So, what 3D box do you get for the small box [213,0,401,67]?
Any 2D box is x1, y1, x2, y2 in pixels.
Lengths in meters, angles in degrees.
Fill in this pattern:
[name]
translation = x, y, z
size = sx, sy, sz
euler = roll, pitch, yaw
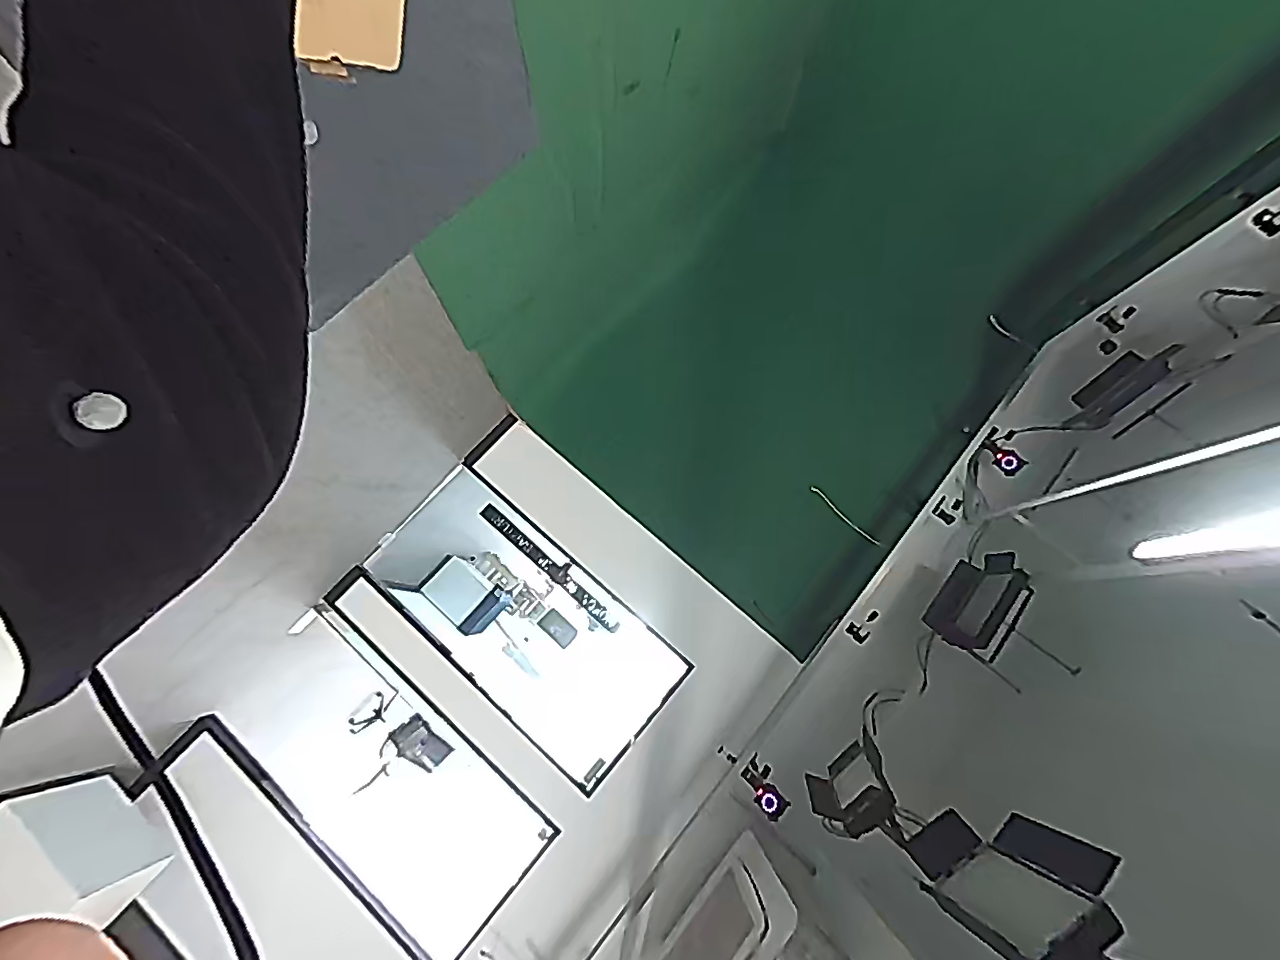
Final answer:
[small box]
translation = -0.367, -0.579, 0.556
size = 0.168, 0.176, 0.179
euler = -37, 166, -47
